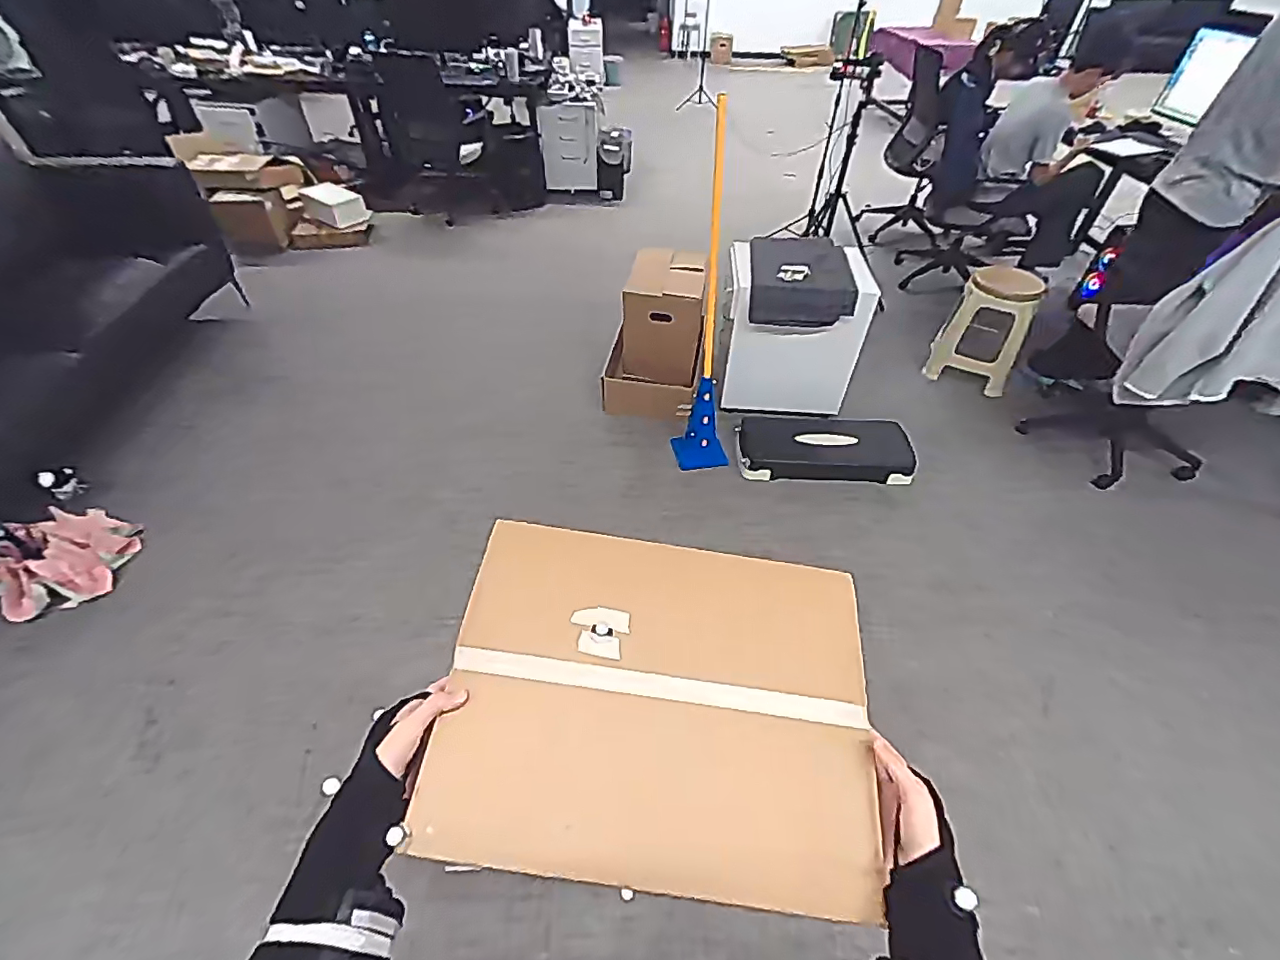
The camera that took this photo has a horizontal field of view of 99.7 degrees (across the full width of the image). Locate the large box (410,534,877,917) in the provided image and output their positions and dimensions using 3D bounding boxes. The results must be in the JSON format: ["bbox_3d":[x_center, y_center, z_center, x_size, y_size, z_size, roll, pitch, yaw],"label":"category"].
[{"bbox_3d":[0.011,0.292,0.657,0.408,0.320,0.320,8,55,1],"label":"large box"}]
